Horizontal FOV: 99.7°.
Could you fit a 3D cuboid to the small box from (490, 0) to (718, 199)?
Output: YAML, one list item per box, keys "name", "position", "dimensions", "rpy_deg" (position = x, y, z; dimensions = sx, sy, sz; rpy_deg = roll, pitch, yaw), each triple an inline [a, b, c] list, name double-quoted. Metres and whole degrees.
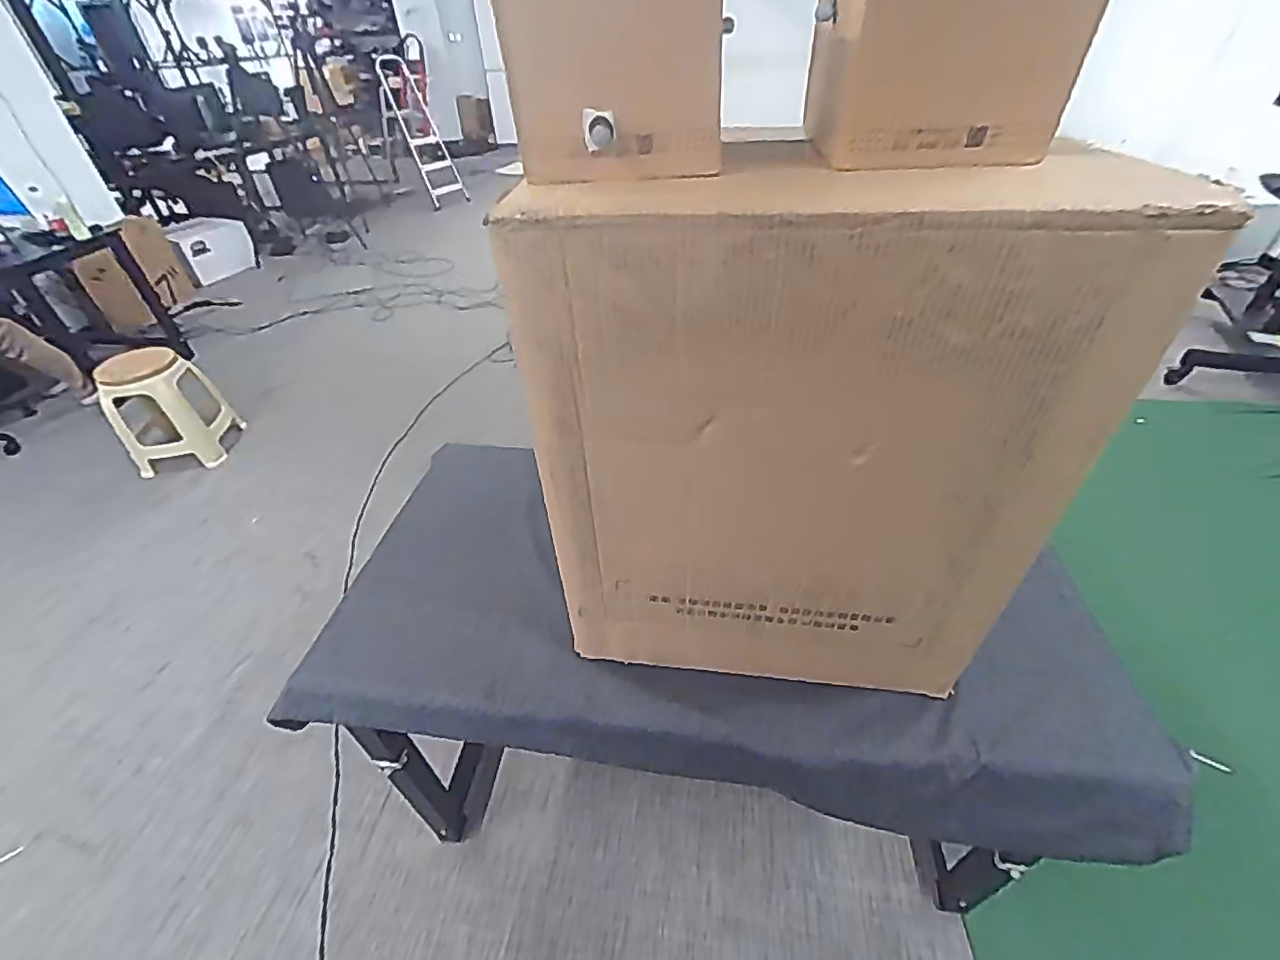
- name: "small box"
  position: [-0.019, -0.358, 0.464]
  dimensions: [0.168, 0.176, 0.179]
  rpy_deg: [-2, 43, 7]

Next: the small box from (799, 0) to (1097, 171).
- name: "small box"
  position: [0.235, -0.366, 0.445]
  dimensions: [0.168, 0.176, 0.179]
  rpy_deg: [-1, 42, 5]
